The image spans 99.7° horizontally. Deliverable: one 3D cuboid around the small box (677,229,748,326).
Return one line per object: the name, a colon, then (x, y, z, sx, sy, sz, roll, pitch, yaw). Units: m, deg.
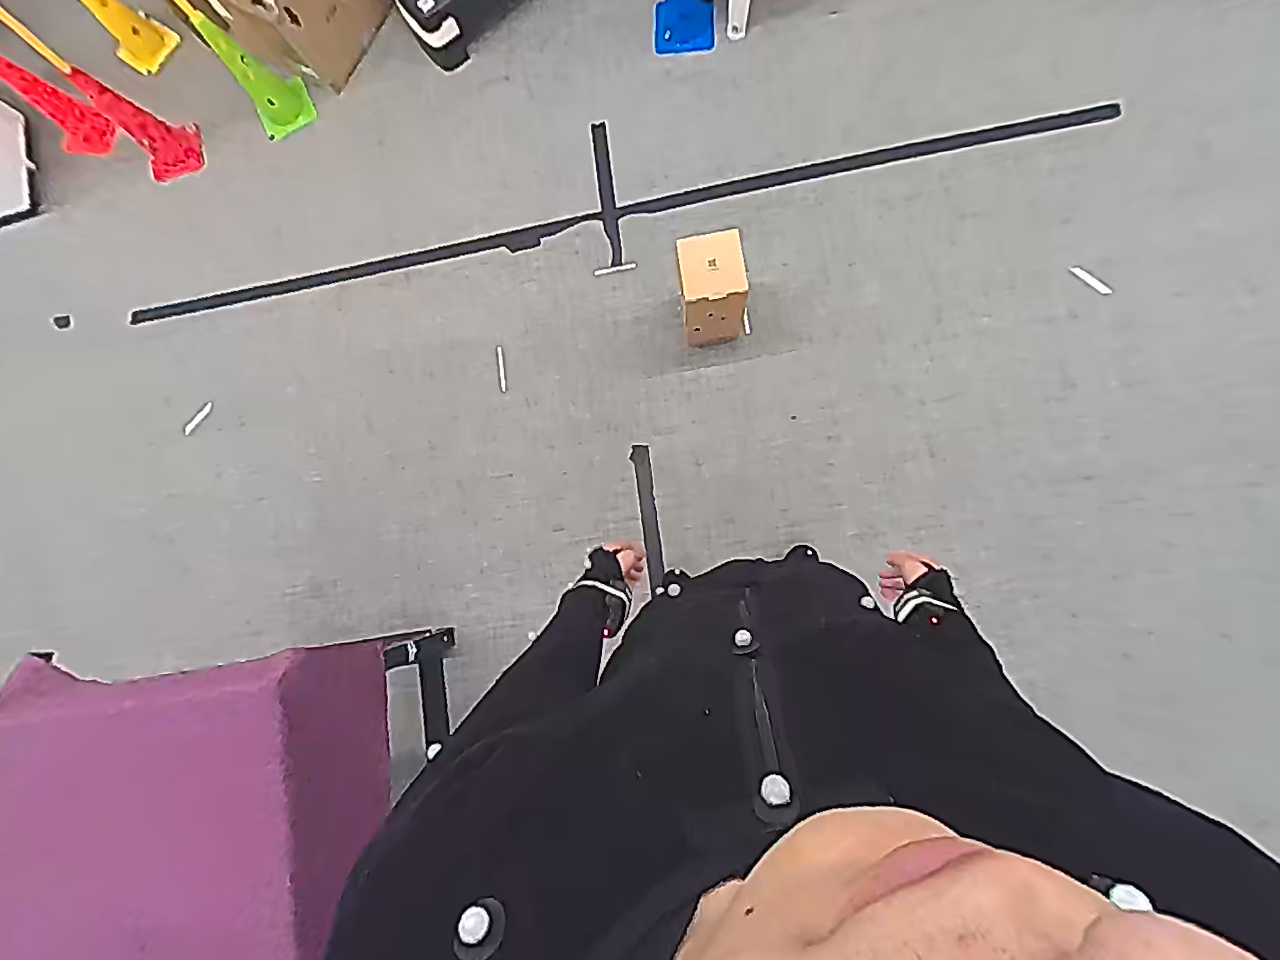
small box: (0.191, -0.545, 1.469, 0.168, 0.176, 0.179, -9, 82, 4)
